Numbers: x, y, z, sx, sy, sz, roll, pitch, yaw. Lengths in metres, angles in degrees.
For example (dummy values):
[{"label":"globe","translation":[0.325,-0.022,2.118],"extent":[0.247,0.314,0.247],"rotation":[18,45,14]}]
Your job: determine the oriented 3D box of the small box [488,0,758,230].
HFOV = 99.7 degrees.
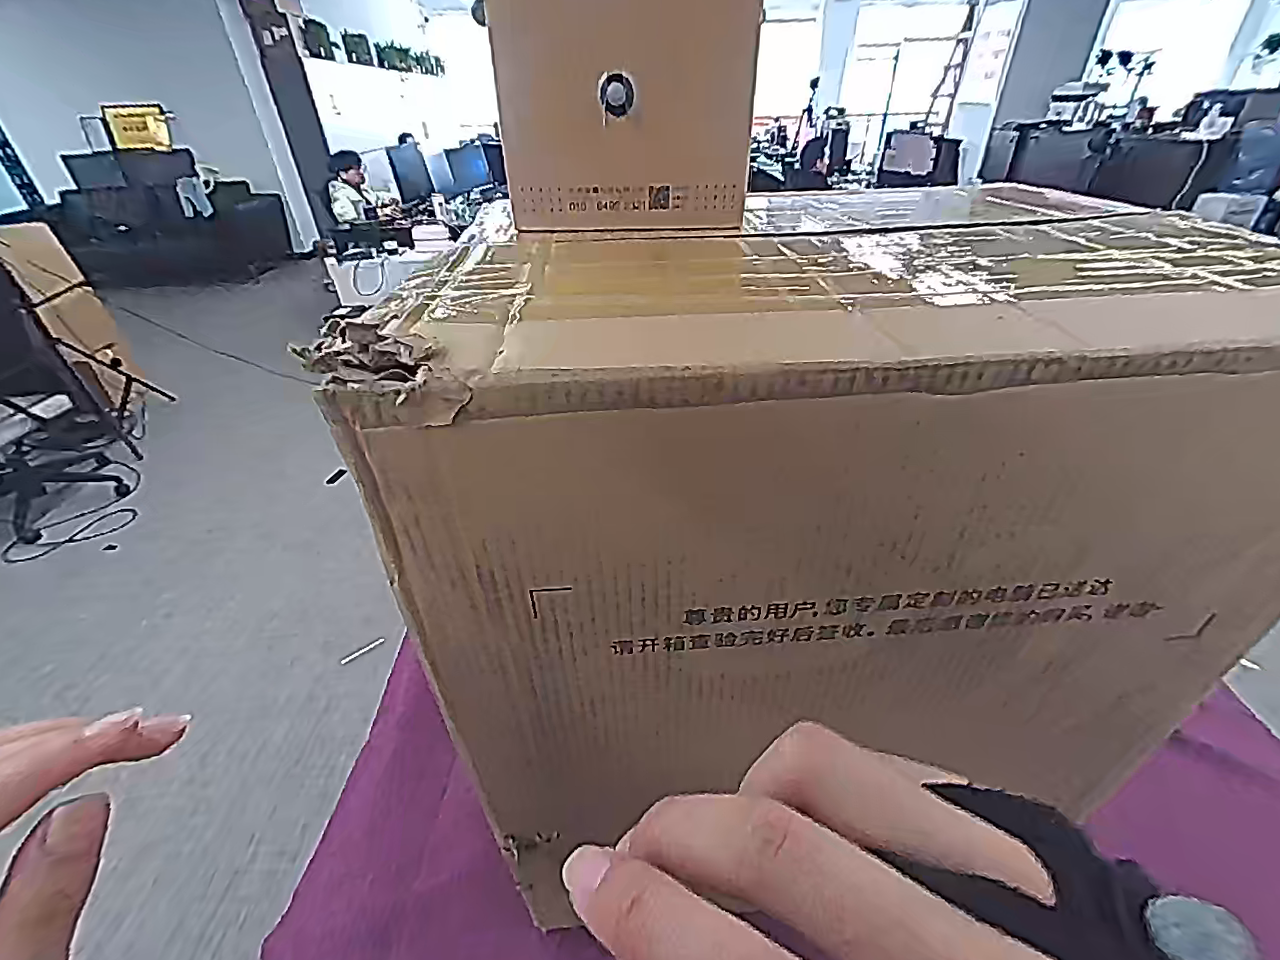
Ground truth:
[{"label":"small box","translation":[-0.008,-0.294,0.412],"extent":[0.168,0.176,0.179],"rotation":[0,35,0]}]
